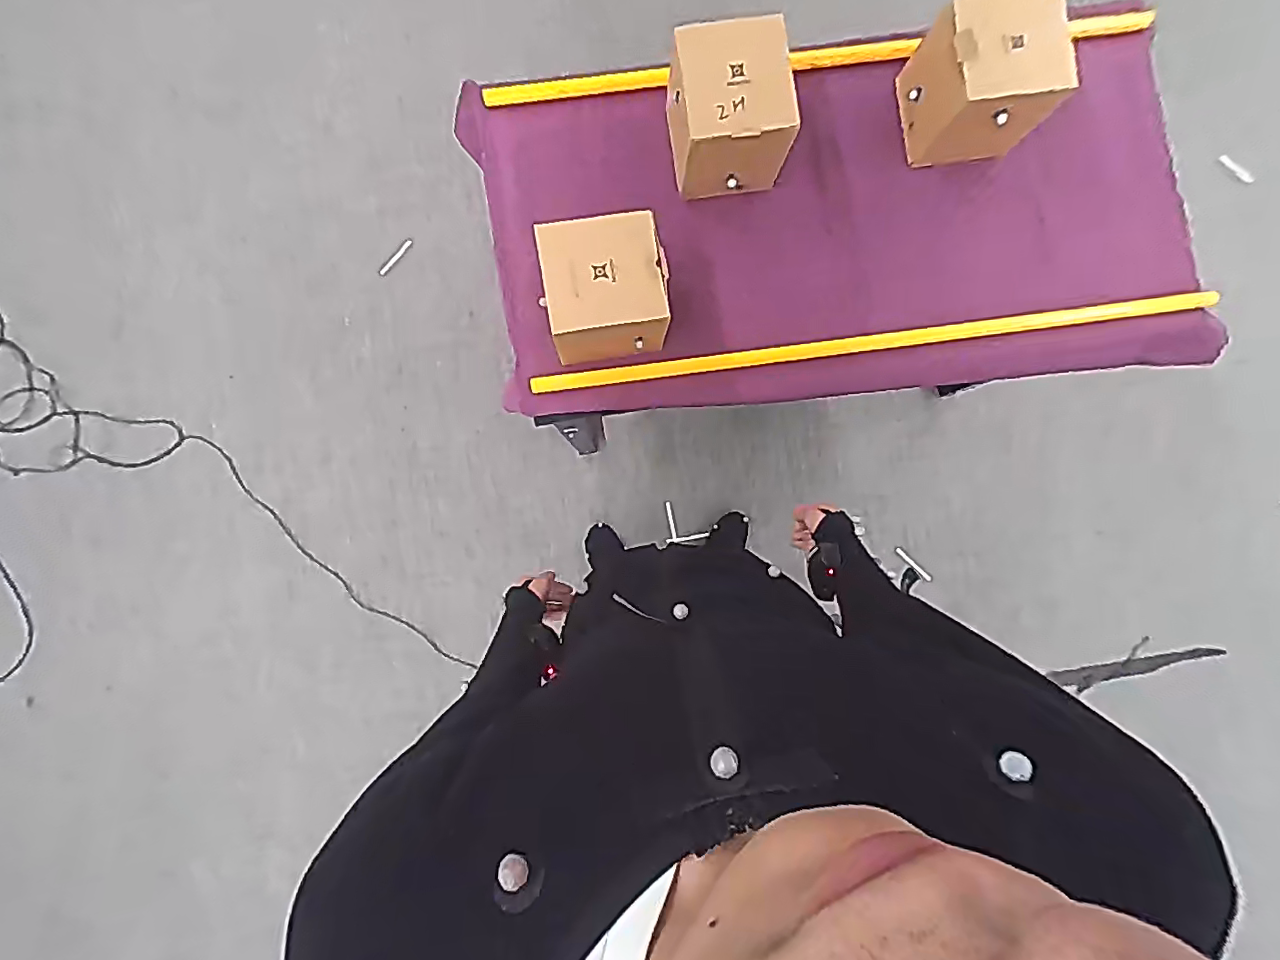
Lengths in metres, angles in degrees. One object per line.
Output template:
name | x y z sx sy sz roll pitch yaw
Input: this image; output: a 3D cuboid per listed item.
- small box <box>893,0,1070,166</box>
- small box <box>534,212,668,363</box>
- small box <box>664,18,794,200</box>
small box | 0.553 -0.655 0.896 0.179 0.176 0.168 -8 89 -1
small box | -0.063 -0.295 0.859 0.179 0.176 0.168 -9 87 -4
small box | 0.135 -0.592 0.881 0.168 0.176 0.179 -8 89 -2
